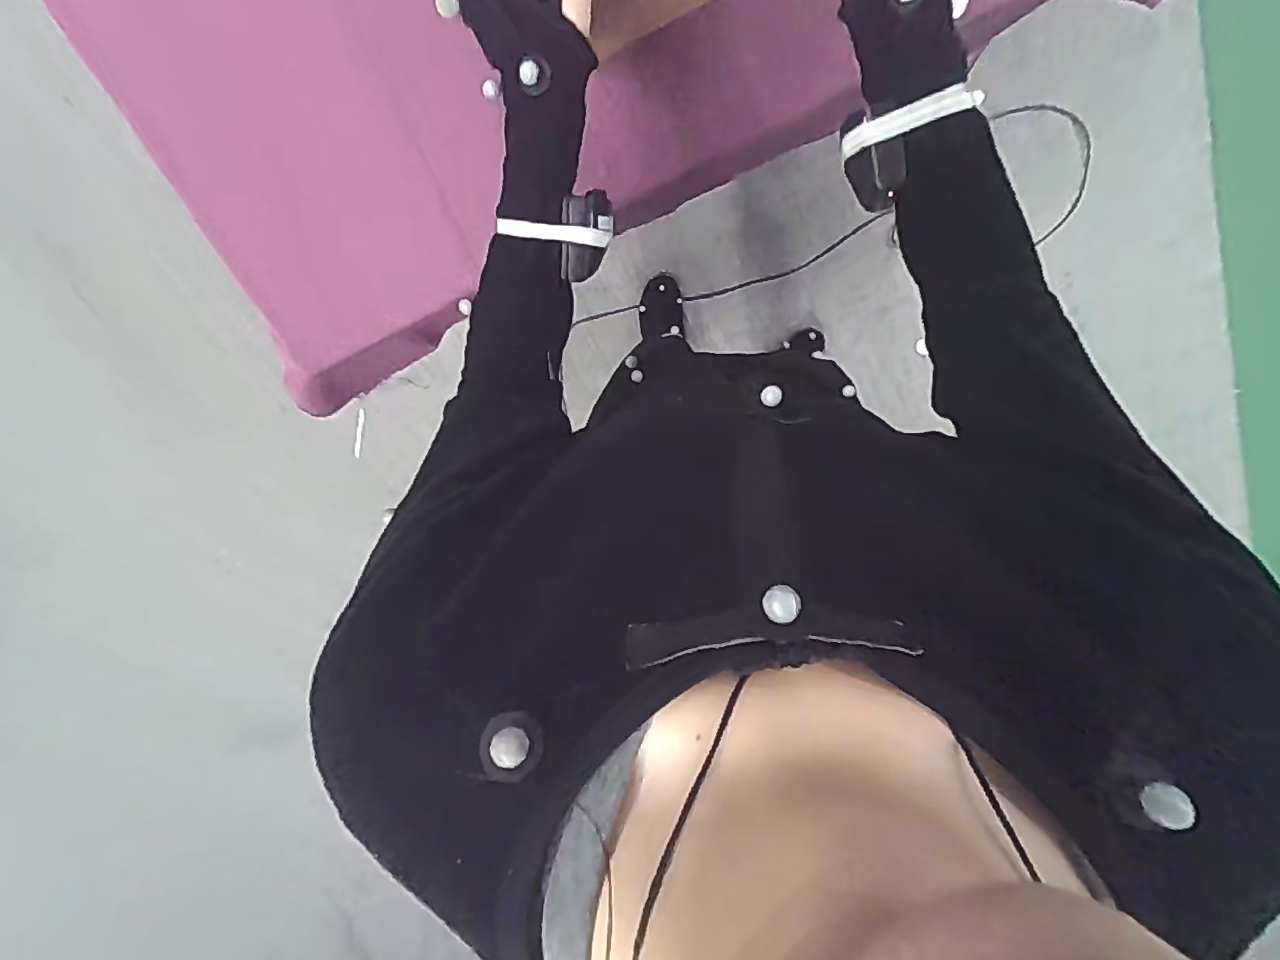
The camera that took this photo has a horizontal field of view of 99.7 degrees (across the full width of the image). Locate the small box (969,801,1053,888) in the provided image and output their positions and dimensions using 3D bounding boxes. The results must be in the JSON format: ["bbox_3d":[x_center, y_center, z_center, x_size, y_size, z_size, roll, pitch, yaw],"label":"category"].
[{"bbox_3d":[1.295,1.273,1.895,0.168,0.176,0.179,-23,108,7],"label":"small box"}]

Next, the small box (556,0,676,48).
[{"bbox_3d":[-0.024,-0.543,0.484,0.179,0.176,0.168,-24,108,8],"label":"small box"}]
